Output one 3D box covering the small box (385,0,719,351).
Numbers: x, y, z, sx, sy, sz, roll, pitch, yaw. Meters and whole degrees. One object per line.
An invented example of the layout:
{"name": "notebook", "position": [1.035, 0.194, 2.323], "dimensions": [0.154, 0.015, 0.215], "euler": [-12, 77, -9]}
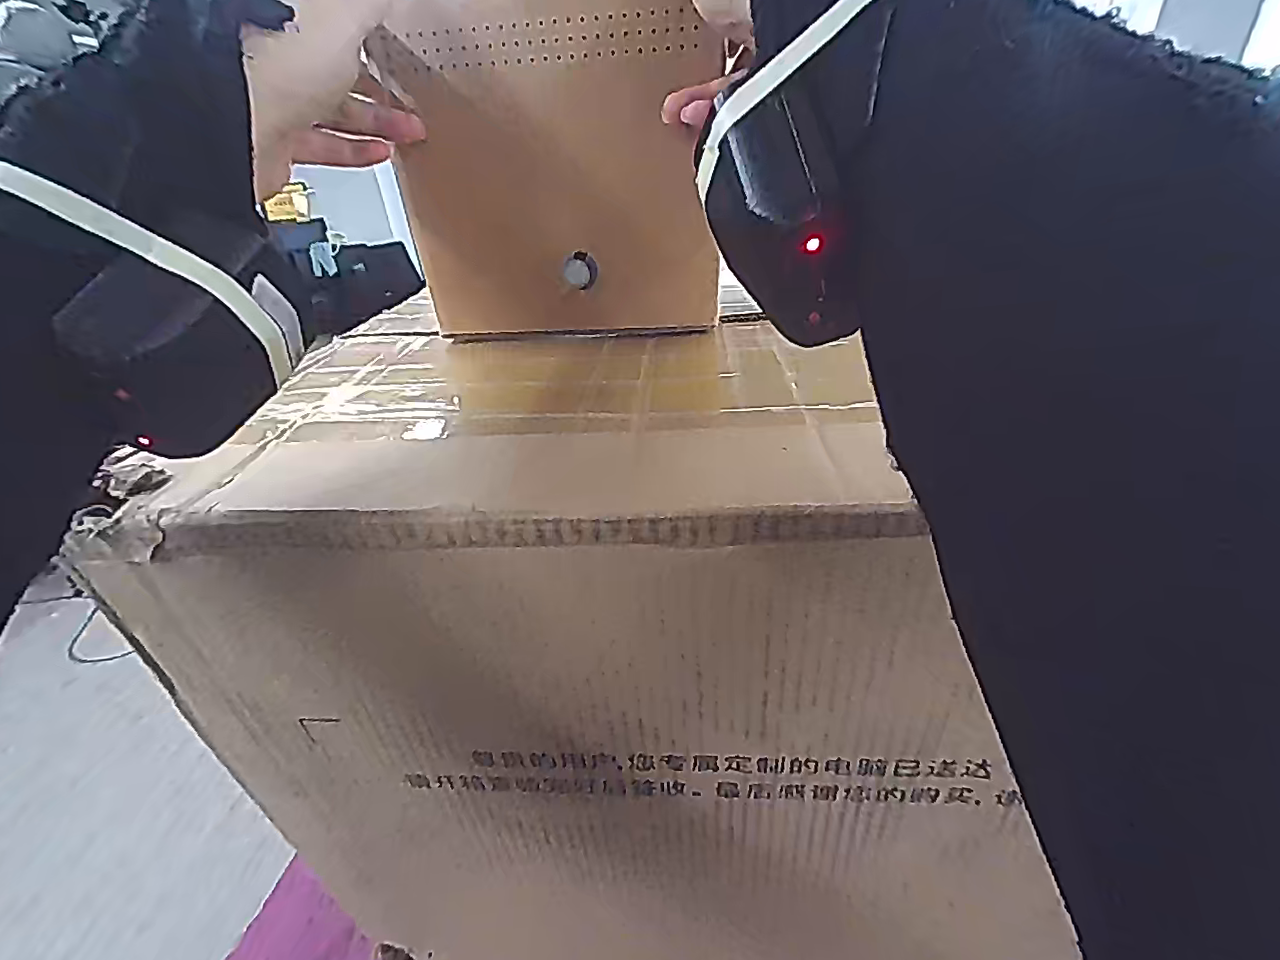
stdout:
{"name": "small box", "position": [-0.041, -0.197, 0.356], "dimensions": [0.179, 0.176, 0.168], "euler": [-1, 35, 7]}
